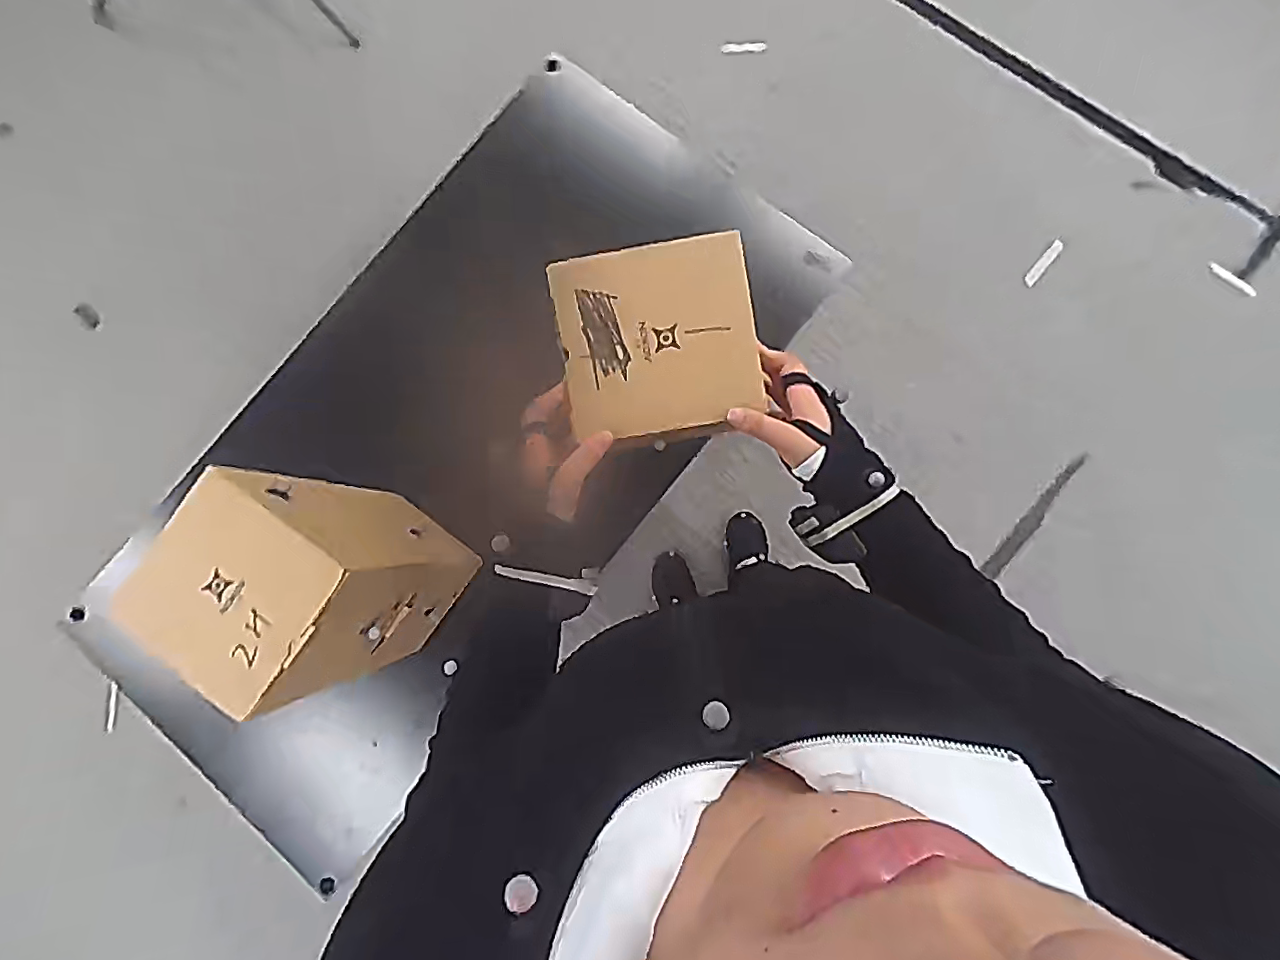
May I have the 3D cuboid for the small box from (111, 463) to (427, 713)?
[{"bbox_3d":[-0.369,0.105,0.572,0.179,0.176,0.168,33,88,7],"label":"small box"}]

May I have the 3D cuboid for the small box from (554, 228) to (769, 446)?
[{"bbox_3d":[0.023,-0.130,0.559,0.179,0.176,0.168,-8,90,3],"label":"small box"}]

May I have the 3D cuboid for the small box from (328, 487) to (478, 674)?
[{"bbox_3d":[-0.354,0.126,0.736,0.179,0.176,0.168,35,87,7],"label":"small box"}]
